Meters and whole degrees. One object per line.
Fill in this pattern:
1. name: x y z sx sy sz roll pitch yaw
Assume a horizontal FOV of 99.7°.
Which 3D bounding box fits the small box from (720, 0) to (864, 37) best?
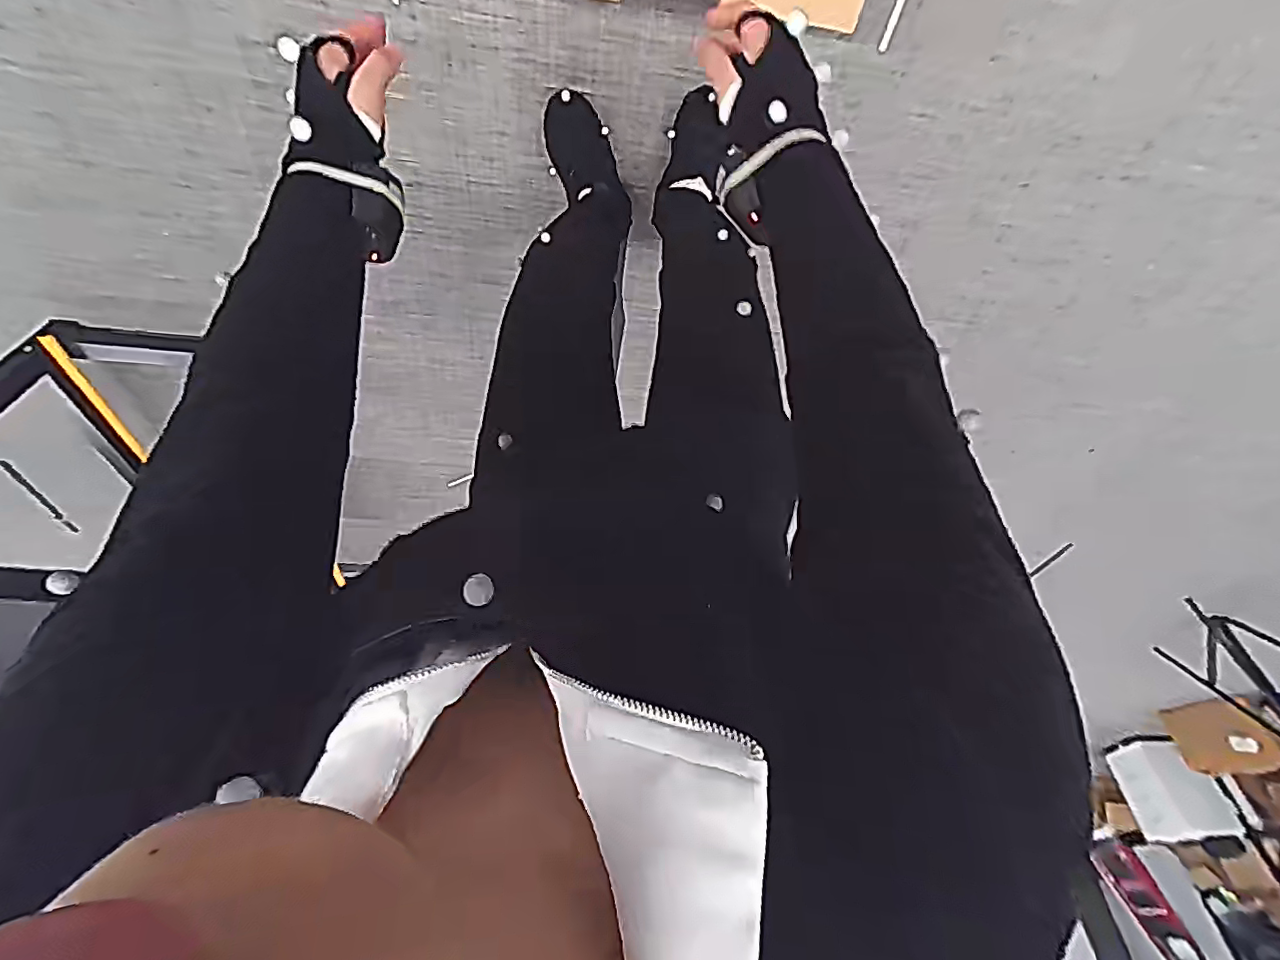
1. small box: 0.181 -0.645 0.611 0.168 0.176 0.179 6 141 -7
